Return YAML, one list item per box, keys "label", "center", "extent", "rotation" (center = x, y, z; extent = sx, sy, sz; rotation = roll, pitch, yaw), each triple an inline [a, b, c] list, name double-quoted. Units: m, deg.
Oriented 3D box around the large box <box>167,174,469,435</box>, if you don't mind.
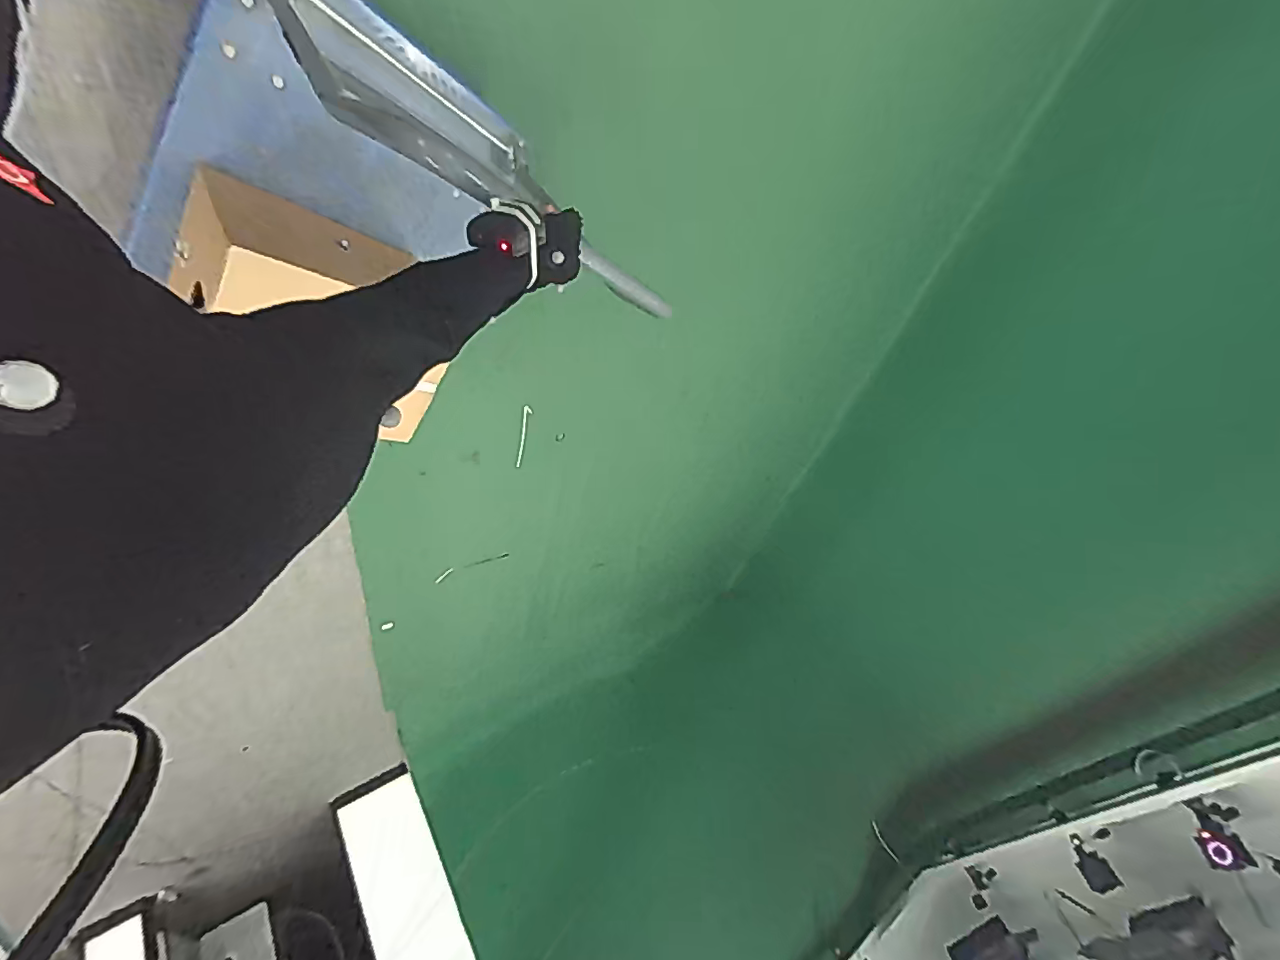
- label: "large box"
  center: [-0.635, -0.319, 1.072]
  extent: [0.408, 0.320, 0.320]
  rotation: [4, 129, -52]
